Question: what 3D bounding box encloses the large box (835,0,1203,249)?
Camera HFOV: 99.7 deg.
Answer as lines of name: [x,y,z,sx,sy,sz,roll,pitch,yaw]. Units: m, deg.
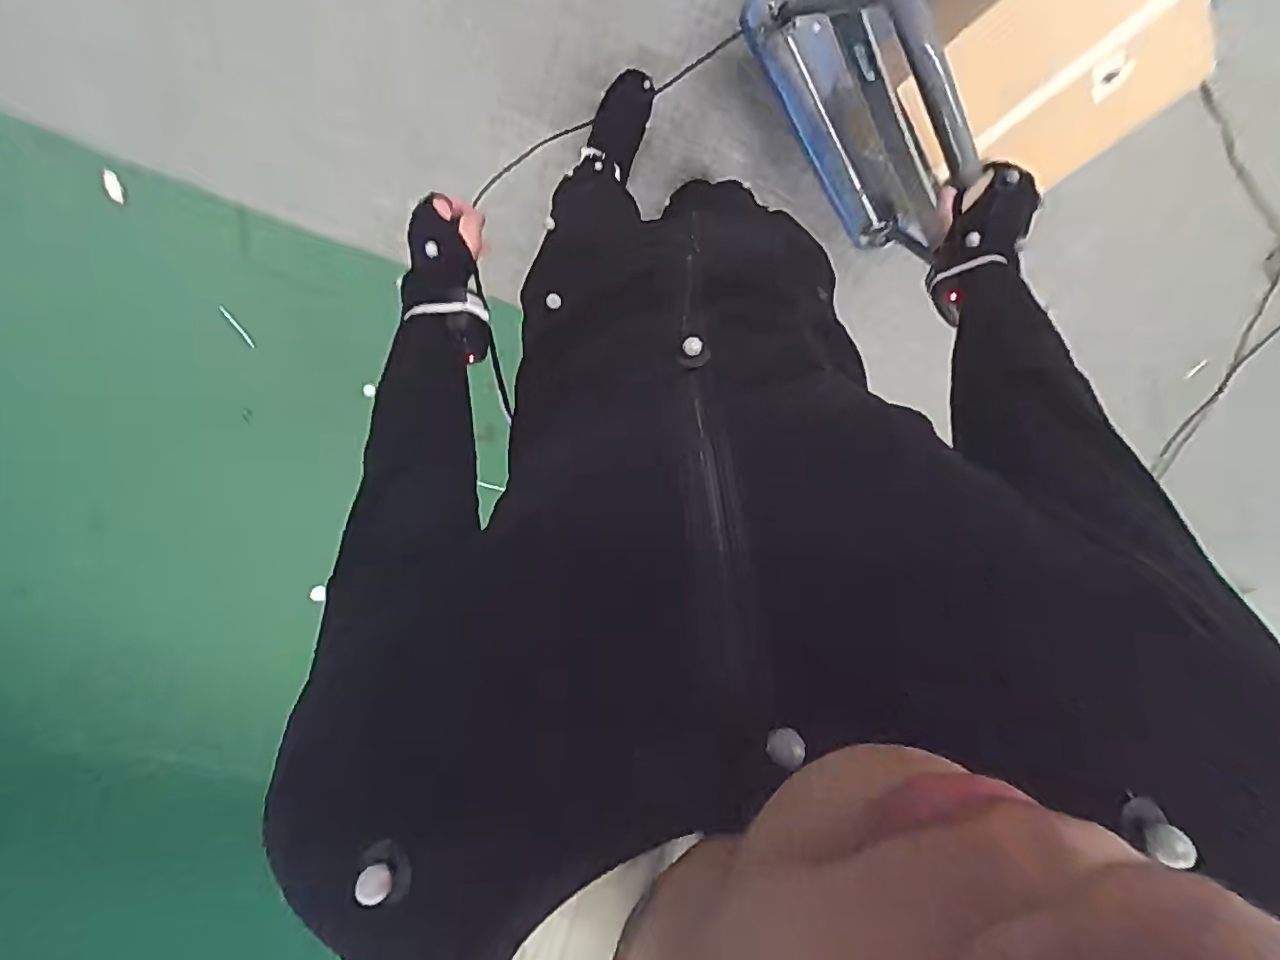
large box: [0.645,-0.708,0.981,0.408,0.320,0.320,-35,121,20]
